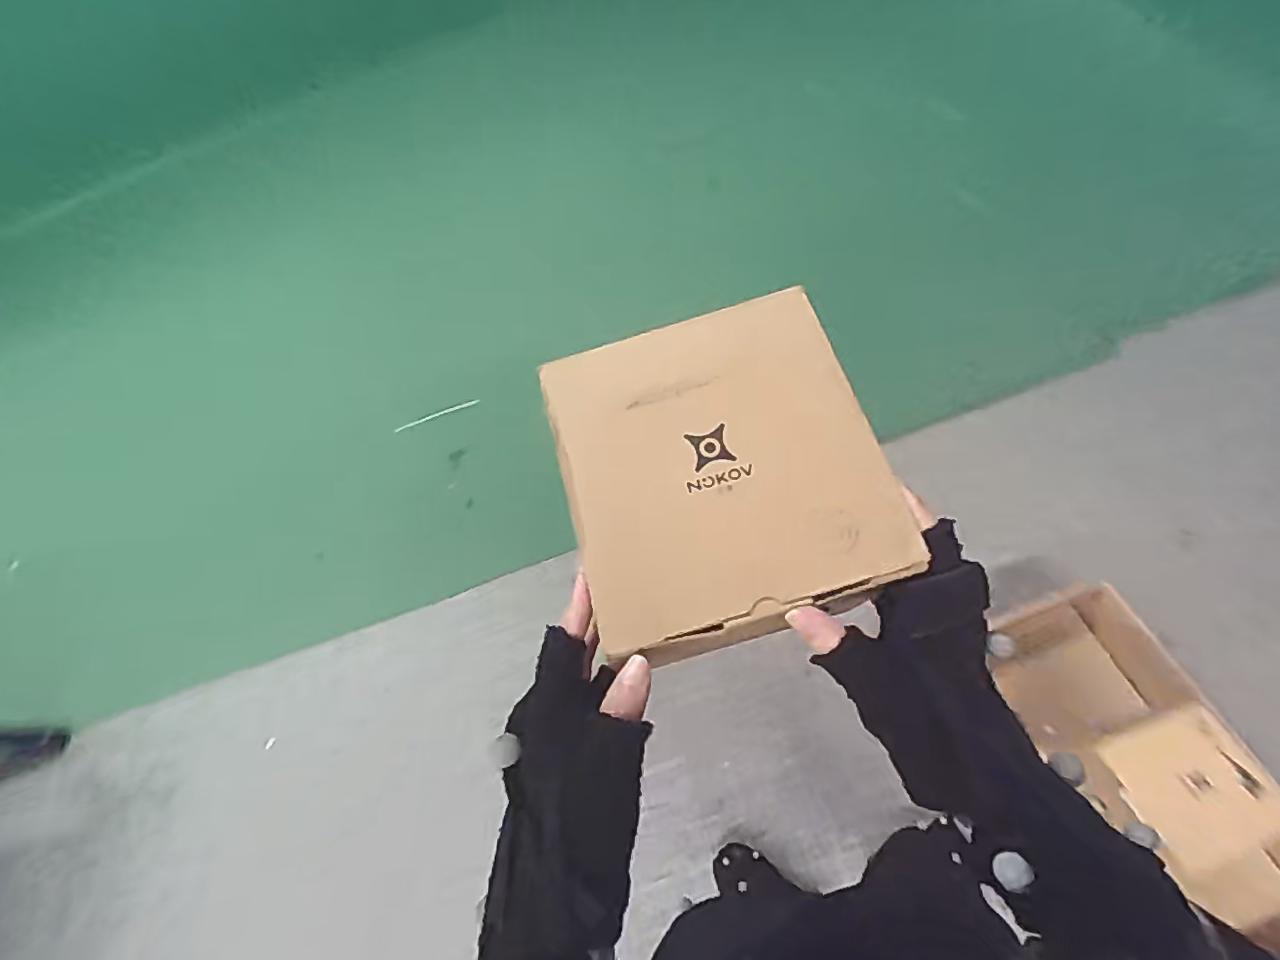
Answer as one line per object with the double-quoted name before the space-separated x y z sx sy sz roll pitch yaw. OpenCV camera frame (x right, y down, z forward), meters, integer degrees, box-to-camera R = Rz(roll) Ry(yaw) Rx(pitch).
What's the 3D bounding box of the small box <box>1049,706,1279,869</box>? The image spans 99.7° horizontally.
"small box" 0.784 0.469 0.836 0.179 0.176 0.168 -21 60 1
